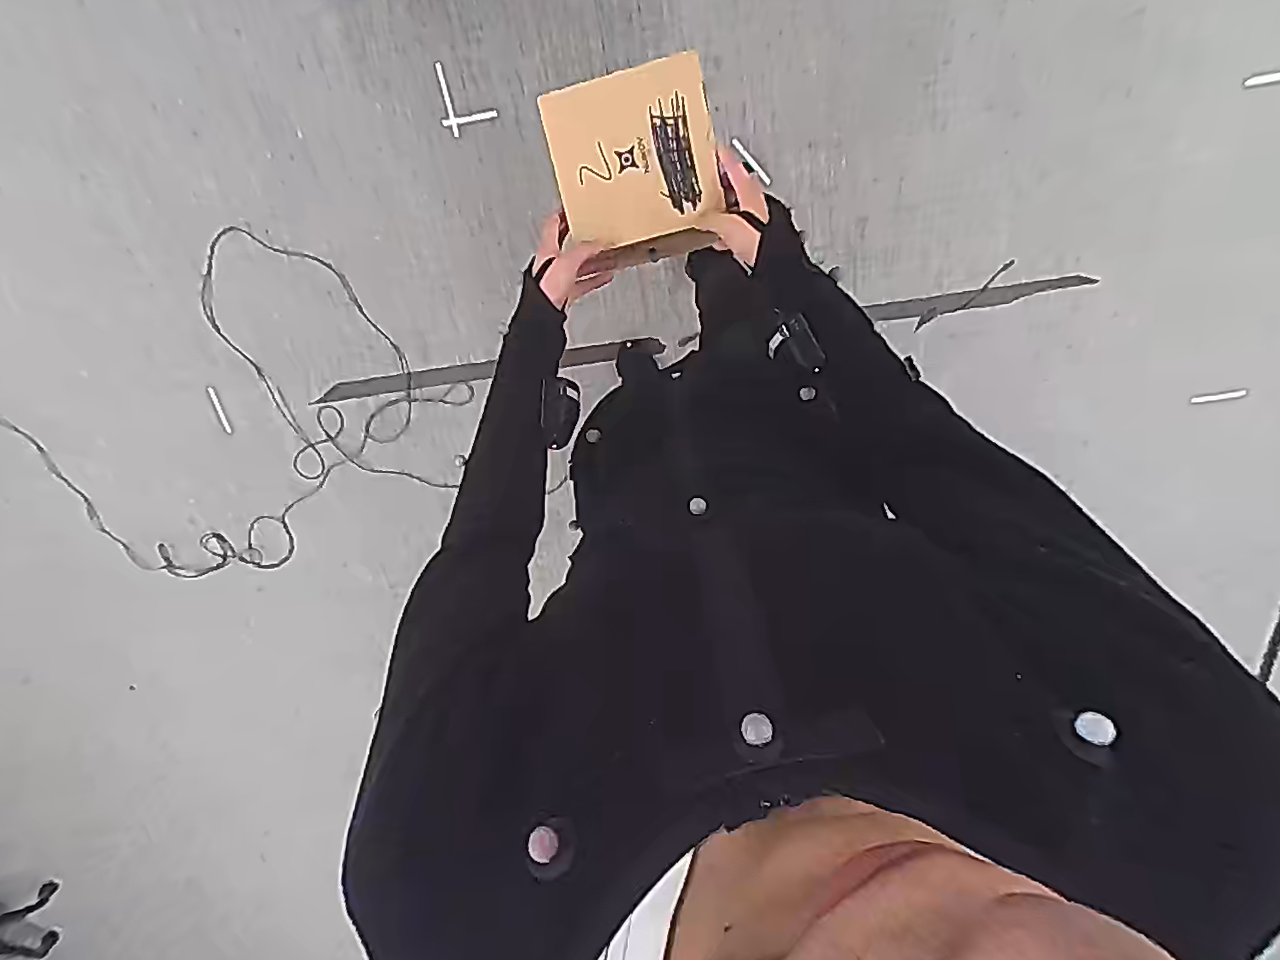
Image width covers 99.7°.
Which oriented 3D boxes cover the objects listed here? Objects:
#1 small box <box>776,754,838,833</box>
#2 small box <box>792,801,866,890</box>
[{"bbox_3d":[0.577,1.082,1.859,0.168,0.176,0.179,-13,111,3],"label":"small box"},{"bbox_3d":[0.595,1.150,1.712,0.179,0.176,0.168,-8,112,1],"label":"small box"}]
